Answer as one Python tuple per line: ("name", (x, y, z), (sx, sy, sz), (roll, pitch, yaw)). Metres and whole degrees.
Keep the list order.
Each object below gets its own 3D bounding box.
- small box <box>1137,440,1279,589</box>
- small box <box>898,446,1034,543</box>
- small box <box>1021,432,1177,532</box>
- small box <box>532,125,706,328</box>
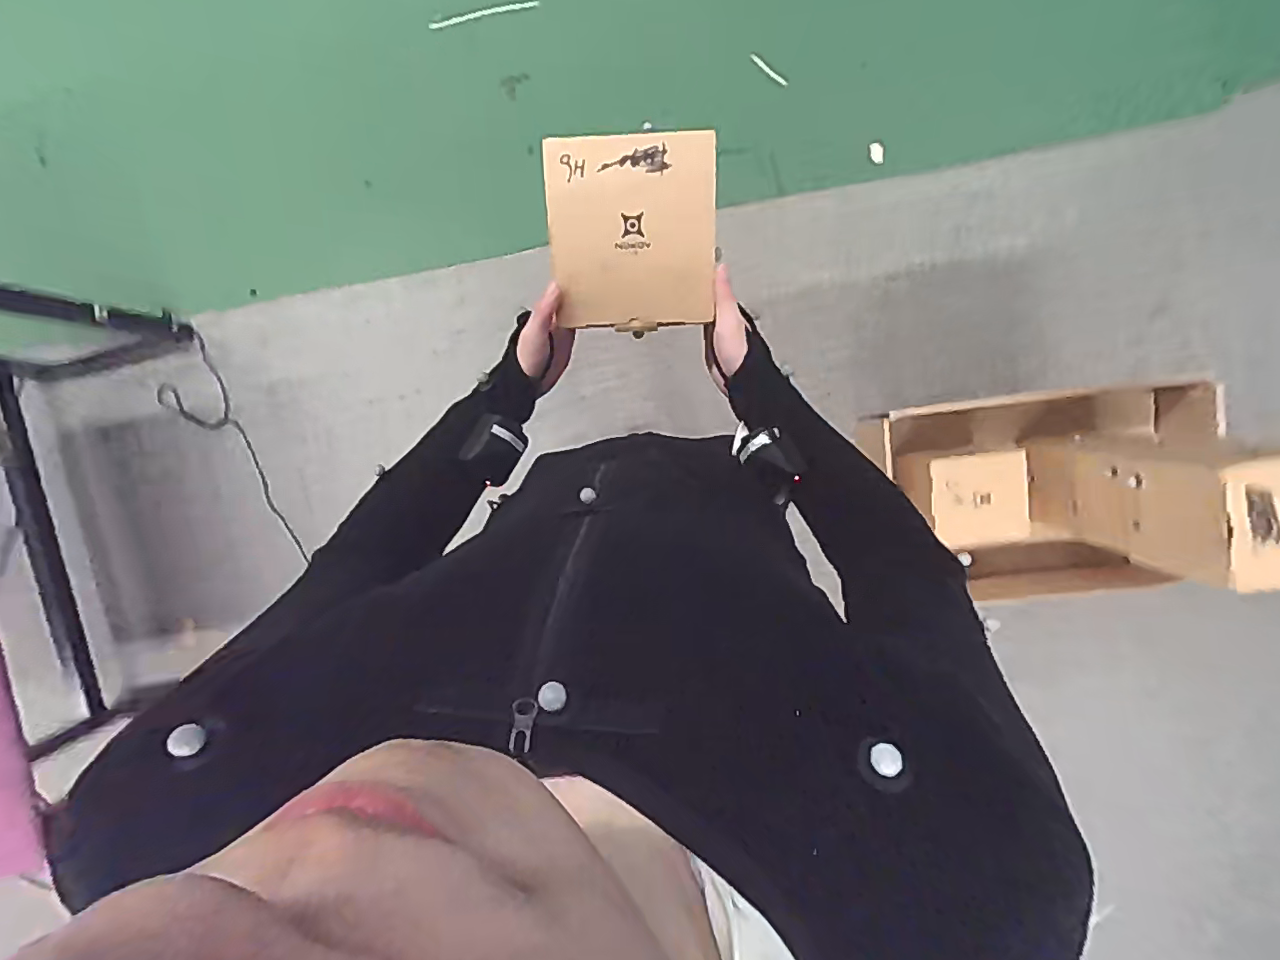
("small box", (0.832, 0.039, 0.741), (0.179, 0.176, 0.168), (-9, 96, 7))
("small box", (0.640, 0.023, 1.076), (0.179, 0.176, 0.168), (-5, 95, 4))
("small box", (0.891, -0.002, 1.063), (0.179, 0.176, 0.168), (-7, 96, 8))
("small box", (-0.013, -0.270, 0.604), (0.168, 0.176, 0.179), (-2, 109, 3))
